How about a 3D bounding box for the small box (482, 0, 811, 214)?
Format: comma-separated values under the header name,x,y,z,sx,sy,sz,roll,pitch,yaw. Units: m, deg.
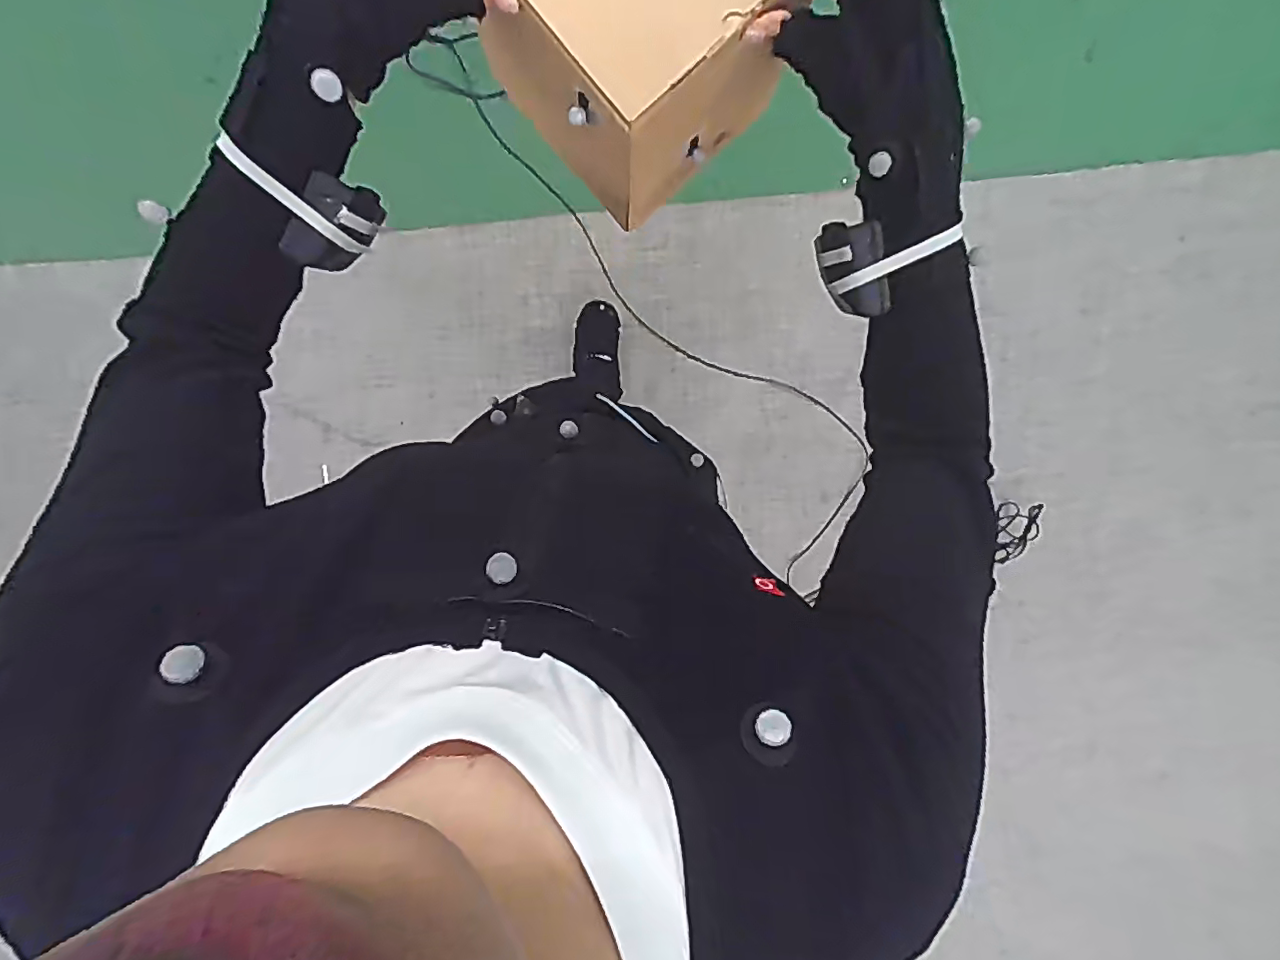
name,x,y,z,sx,sy,sz,roll,pitch,yaw
small box,-0.004,-0.337,0.392,0.168,0.176,0.179,-41,97,2
